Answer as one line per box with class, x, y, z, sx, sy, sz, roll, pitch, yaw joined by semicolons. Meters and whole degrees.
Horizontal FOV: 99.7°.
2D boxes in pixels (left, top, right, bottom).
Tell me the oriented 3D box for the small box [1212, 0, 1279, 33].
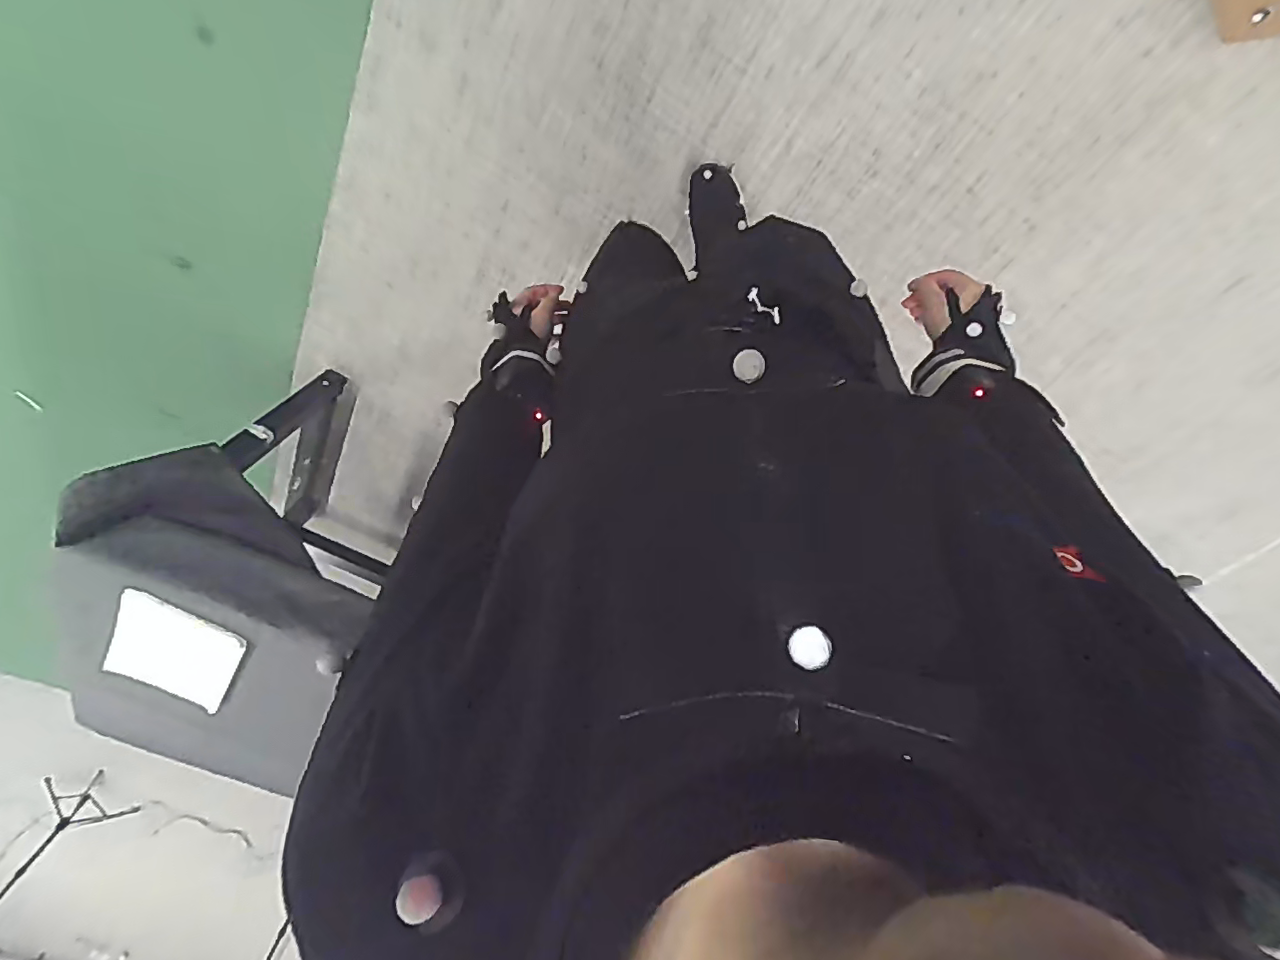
small box;0.996;-0.805;0.794;0.168;0.176;0.179;-36;113;25
